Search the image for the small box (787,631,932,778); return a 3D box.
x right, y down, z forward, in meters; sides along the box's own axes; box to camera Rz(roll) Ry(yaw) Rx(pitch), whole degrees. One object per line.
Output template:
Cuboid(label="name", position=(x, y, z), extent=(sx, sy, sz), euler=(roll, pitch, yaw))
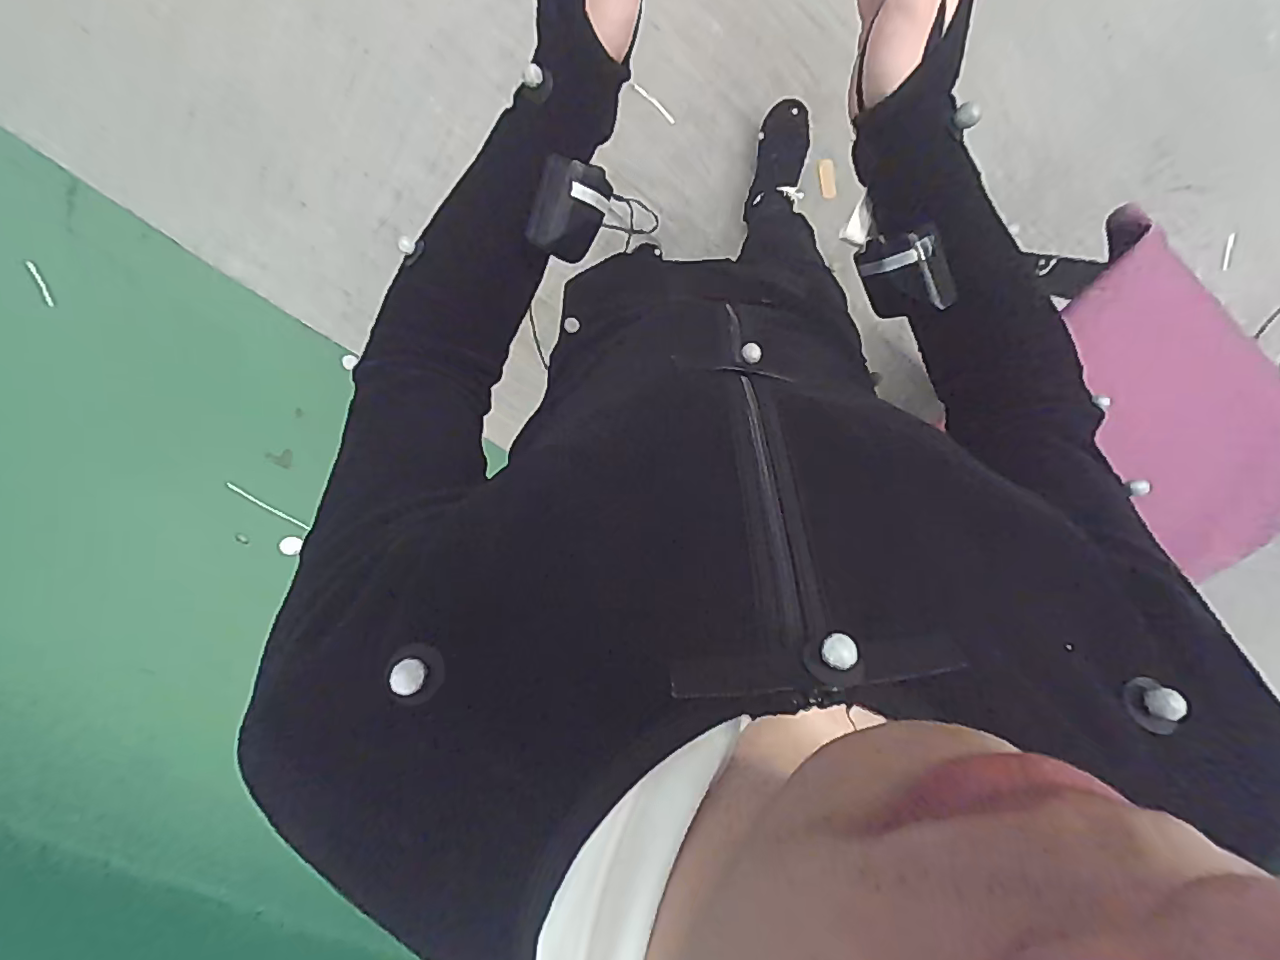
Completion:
Cuboid(label="small box", position=(0.413, 0.430, 1.052), extent=(0.168, 0.176, 0.179), euler=(36, 112, -17))
